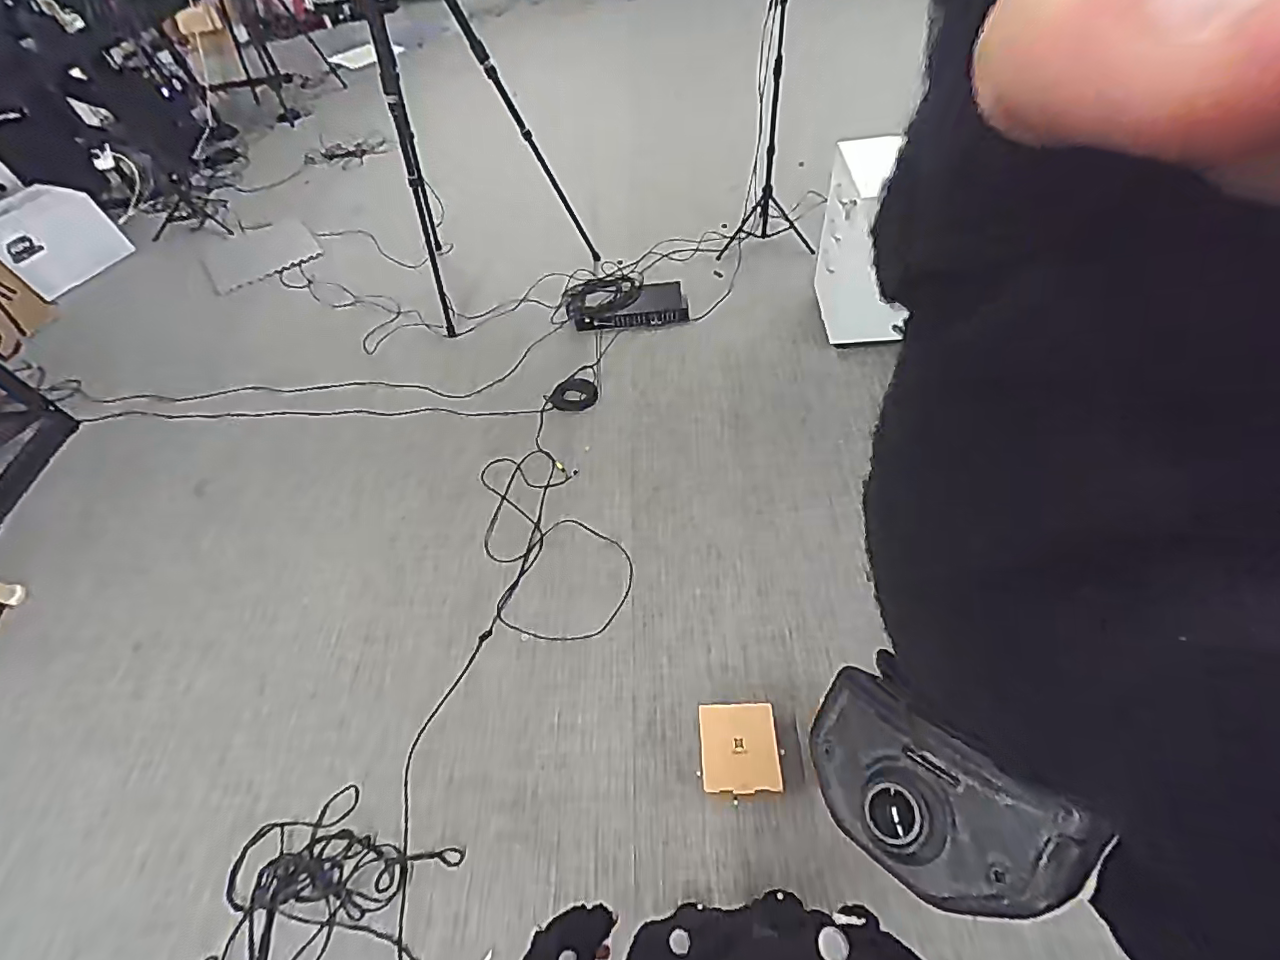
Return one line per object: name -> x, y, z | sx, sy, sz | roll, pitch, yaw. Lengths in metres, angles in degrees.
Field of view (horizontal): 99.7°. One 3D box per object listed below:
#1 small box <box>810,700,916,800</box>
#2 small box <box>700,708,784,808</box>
small box -> 0.487, 0.608, 1.207 | 0.168, 0.176, 0.179 | -5, 51, 5
small box -> 0.223, 0.633, 1.227 | 0.168, 0.176, 0.179 | -4, 52, 5
